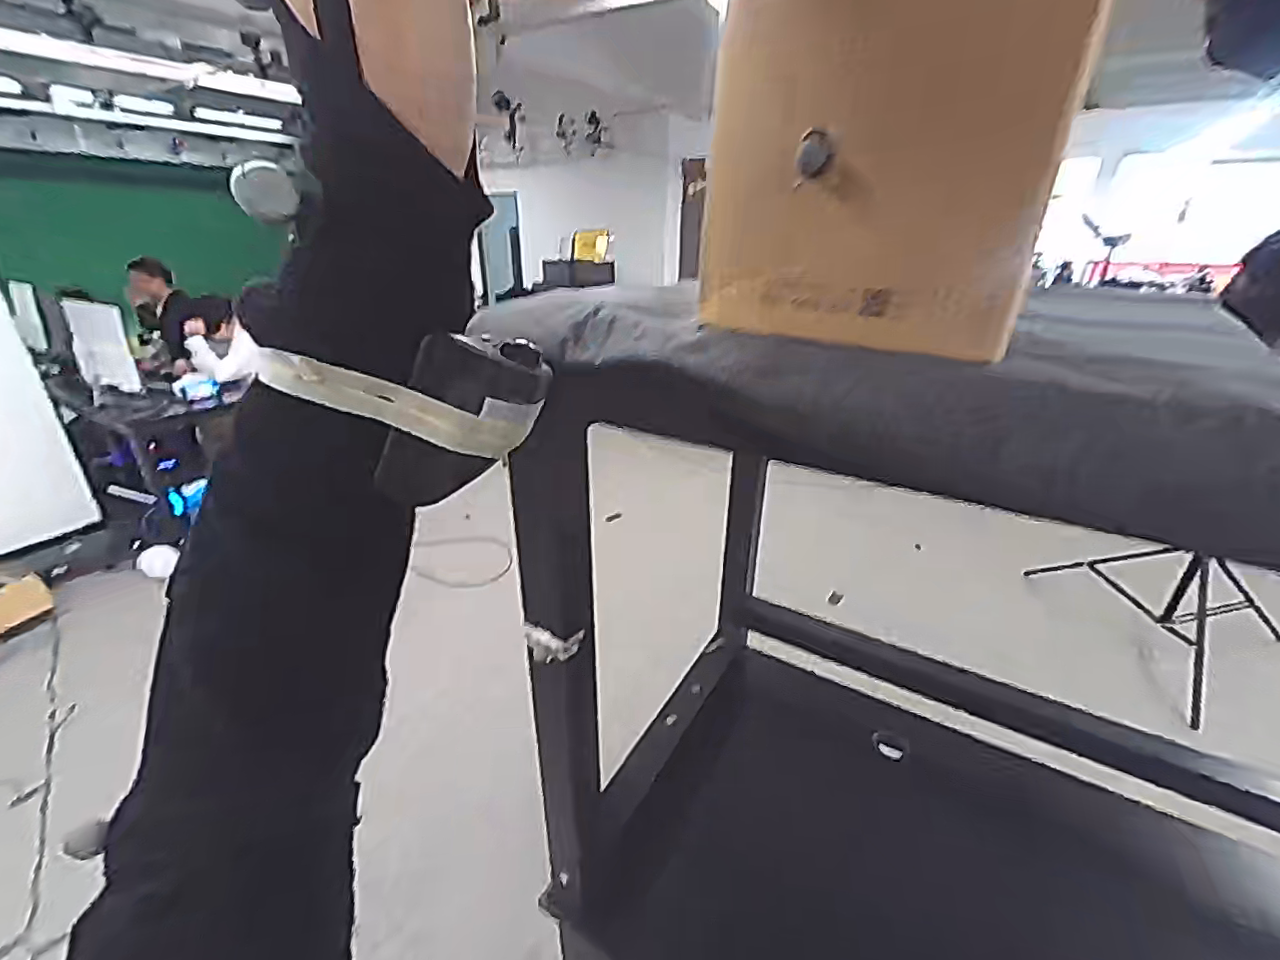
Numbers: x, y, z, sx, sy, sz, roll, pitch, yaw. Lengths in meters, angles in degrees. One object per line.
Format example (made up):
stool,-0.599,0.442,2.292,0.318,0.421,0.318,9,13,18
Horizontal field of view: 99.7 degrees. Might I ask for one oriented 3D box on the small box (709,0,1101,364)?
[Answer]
small box,0.152,-0.173,0.334,0.168,0.176,0.179,17,26,28
